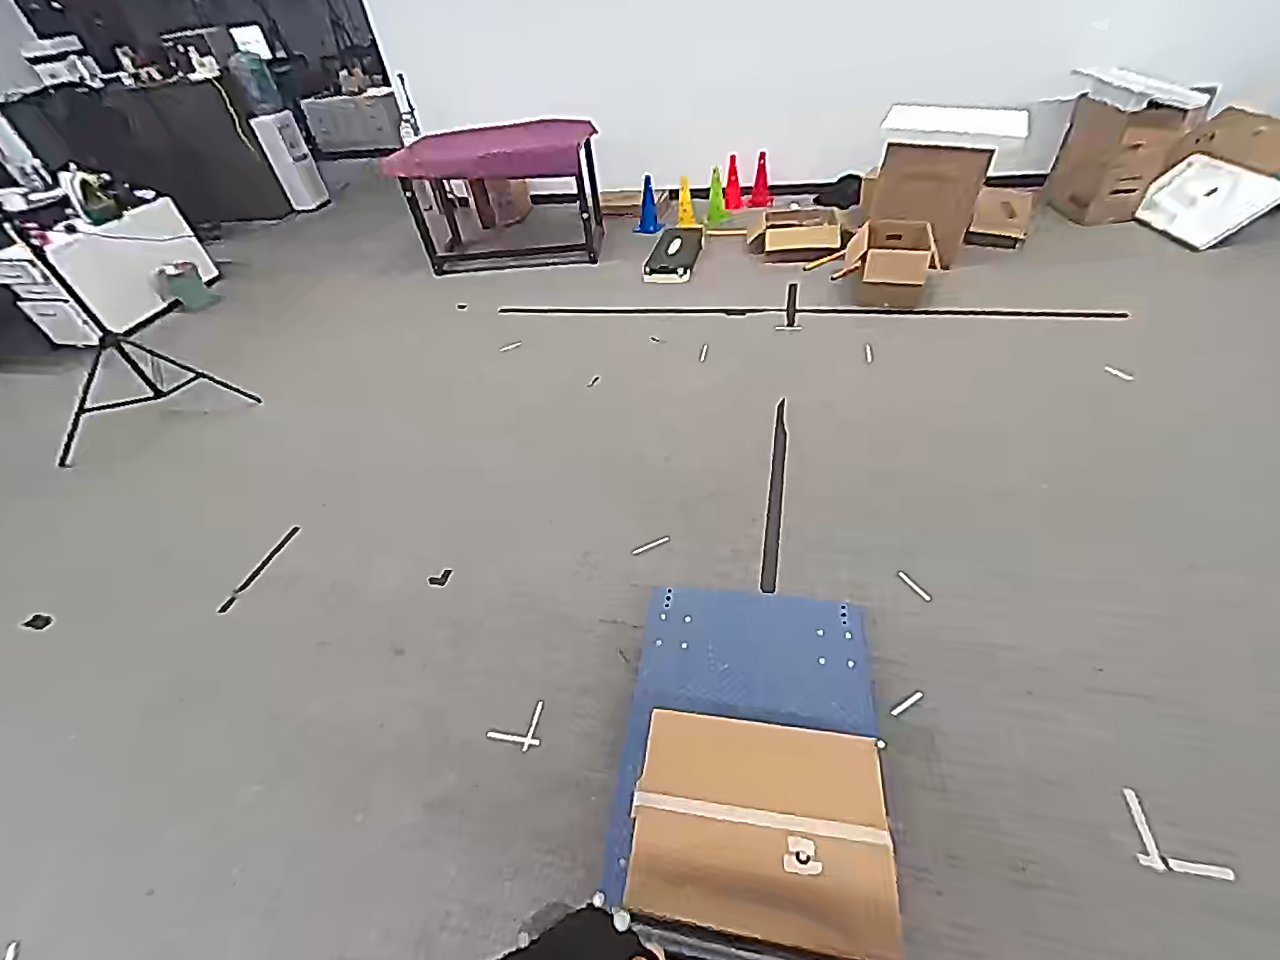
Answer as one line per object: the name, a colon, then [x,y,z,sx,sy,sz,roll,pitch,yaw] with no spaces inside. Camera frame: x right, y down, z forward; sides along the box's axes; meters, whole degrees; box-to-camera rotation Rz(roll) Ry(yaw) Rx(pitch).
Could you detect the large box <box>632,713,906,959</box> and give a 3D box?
large box: [0.214,0.667,0.998,0.408,0.320,0.320,3,46,10]
